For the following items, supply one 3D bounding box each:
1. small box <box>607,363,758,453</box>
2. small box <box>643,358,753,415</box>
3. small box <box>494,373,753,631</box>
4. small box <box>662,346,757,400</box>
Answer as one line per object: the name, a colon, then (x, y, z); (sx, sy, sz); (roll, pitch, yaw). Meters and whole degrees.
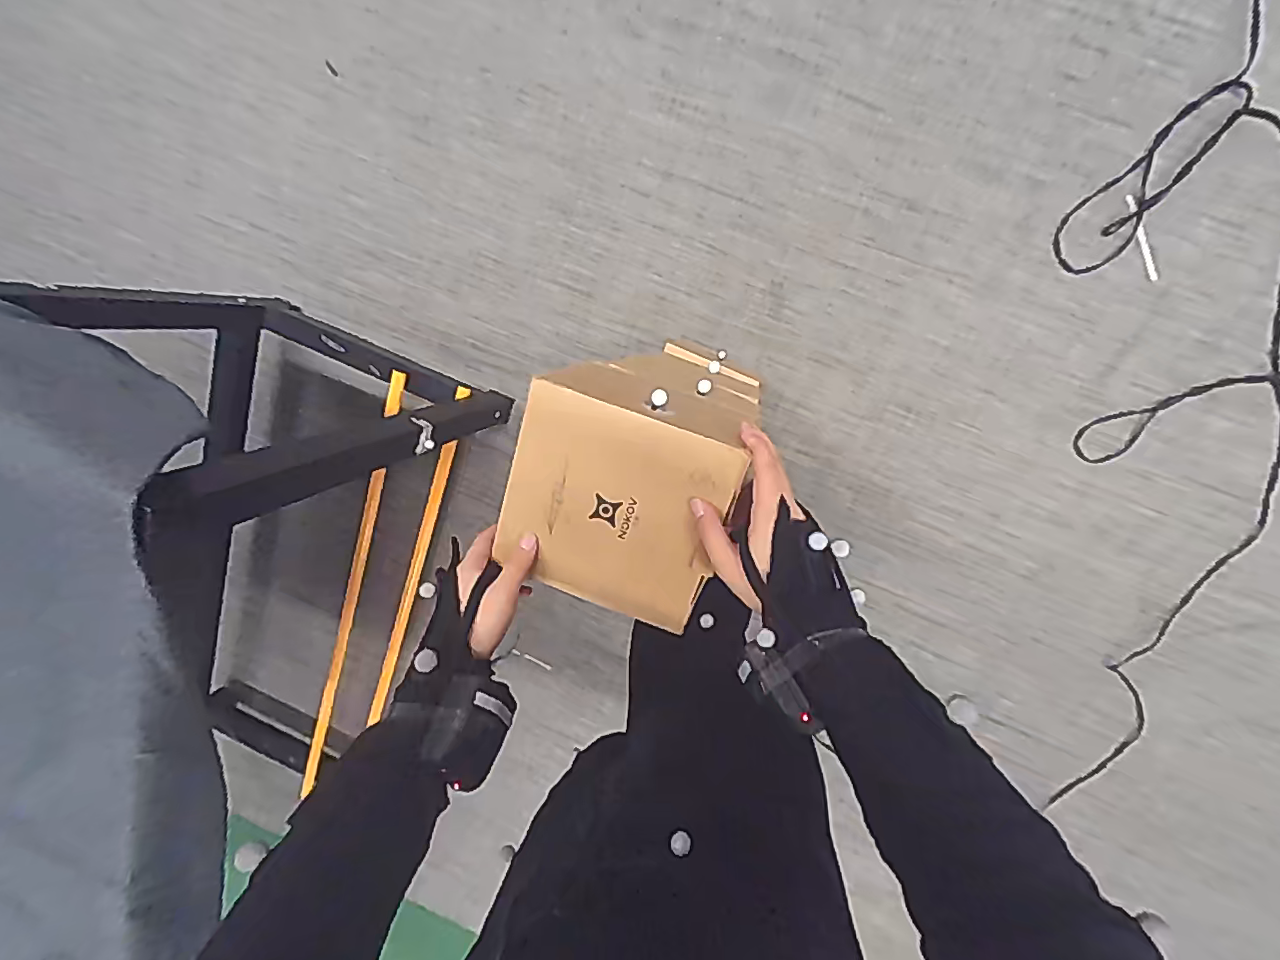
small box: (0.030, -0.039, 0.669); (0.179, 0.176, 0.168); (23, 107, 3)
small box: (0.066, -0.076, 0.825); (0.168, 0.176, 0.179); (22, 107, 5)
small box: (-0.005, 0.004, 0.504); (0.179, 0.176, 0.168); (20, 107, 6)
small box: (0.098, -0.130, 0.977); (0.168, 0.176, 0.179); (25, 108, 5)
